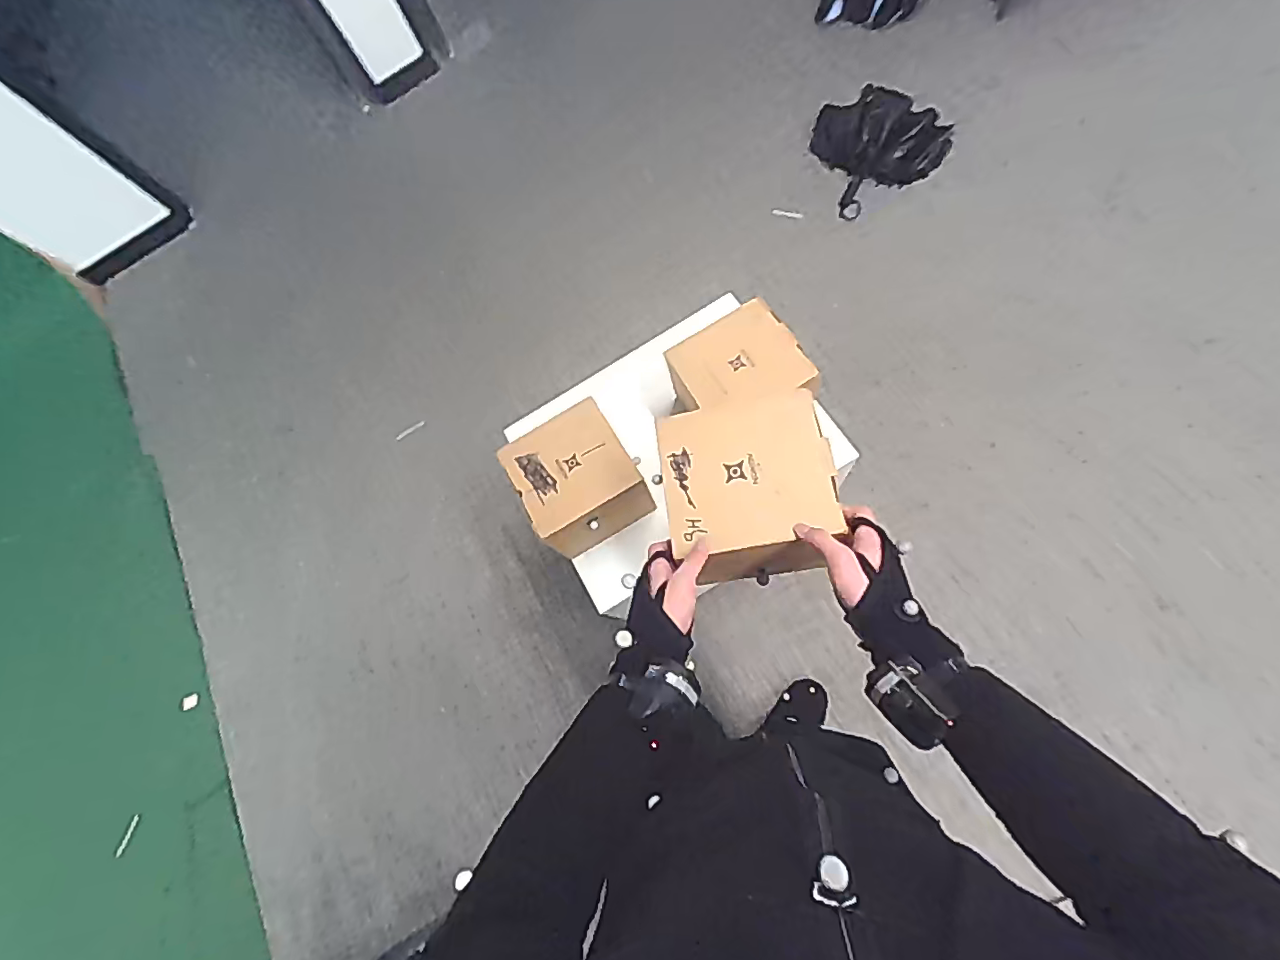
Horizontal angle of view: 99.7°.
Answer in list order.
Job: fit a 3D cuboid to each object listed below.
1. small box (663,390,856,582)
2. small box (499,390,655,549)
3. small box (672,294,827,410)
[{"bbox_3d":[0.130,0.018,0.633,0.179,0.176,0.168,-10,68,8],"label":"small box"},{"bbox_3d":[-0.092,-0.007,0.867,0.179,0.176,0.168,-30,72,-2],"label":"small box"},{"bbox_3d":[0.170,-0.154,0.872,0.179,0.176,0.168,-29,71,1],"label":"small box"}]
